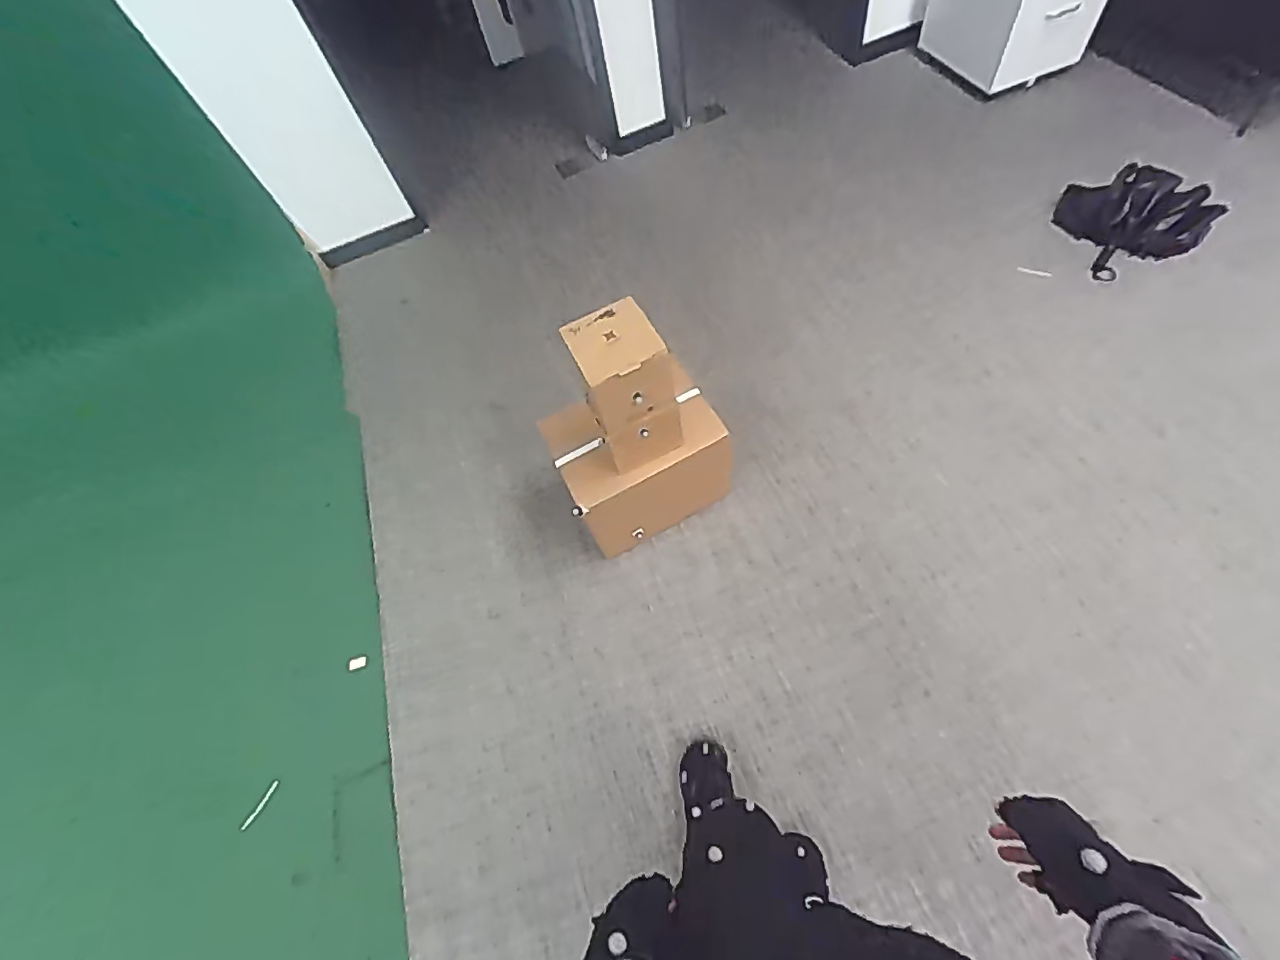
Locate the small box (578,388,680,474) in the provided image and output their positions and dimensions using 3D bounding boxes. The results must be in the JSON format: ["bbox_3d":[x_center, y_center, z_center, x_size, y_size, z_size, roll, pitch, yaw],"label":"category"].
[{"bbox_3d":[-0.021,-0.141,1.257,0.179,0.176,0.168,-26,61,-6],"label":"small box"}]

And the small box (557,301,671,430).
[{"bbox_3d":[-0.047,-0.226,1.120,0.168,0.176,0.179,-26,61,-4],"label":"small box"}]
